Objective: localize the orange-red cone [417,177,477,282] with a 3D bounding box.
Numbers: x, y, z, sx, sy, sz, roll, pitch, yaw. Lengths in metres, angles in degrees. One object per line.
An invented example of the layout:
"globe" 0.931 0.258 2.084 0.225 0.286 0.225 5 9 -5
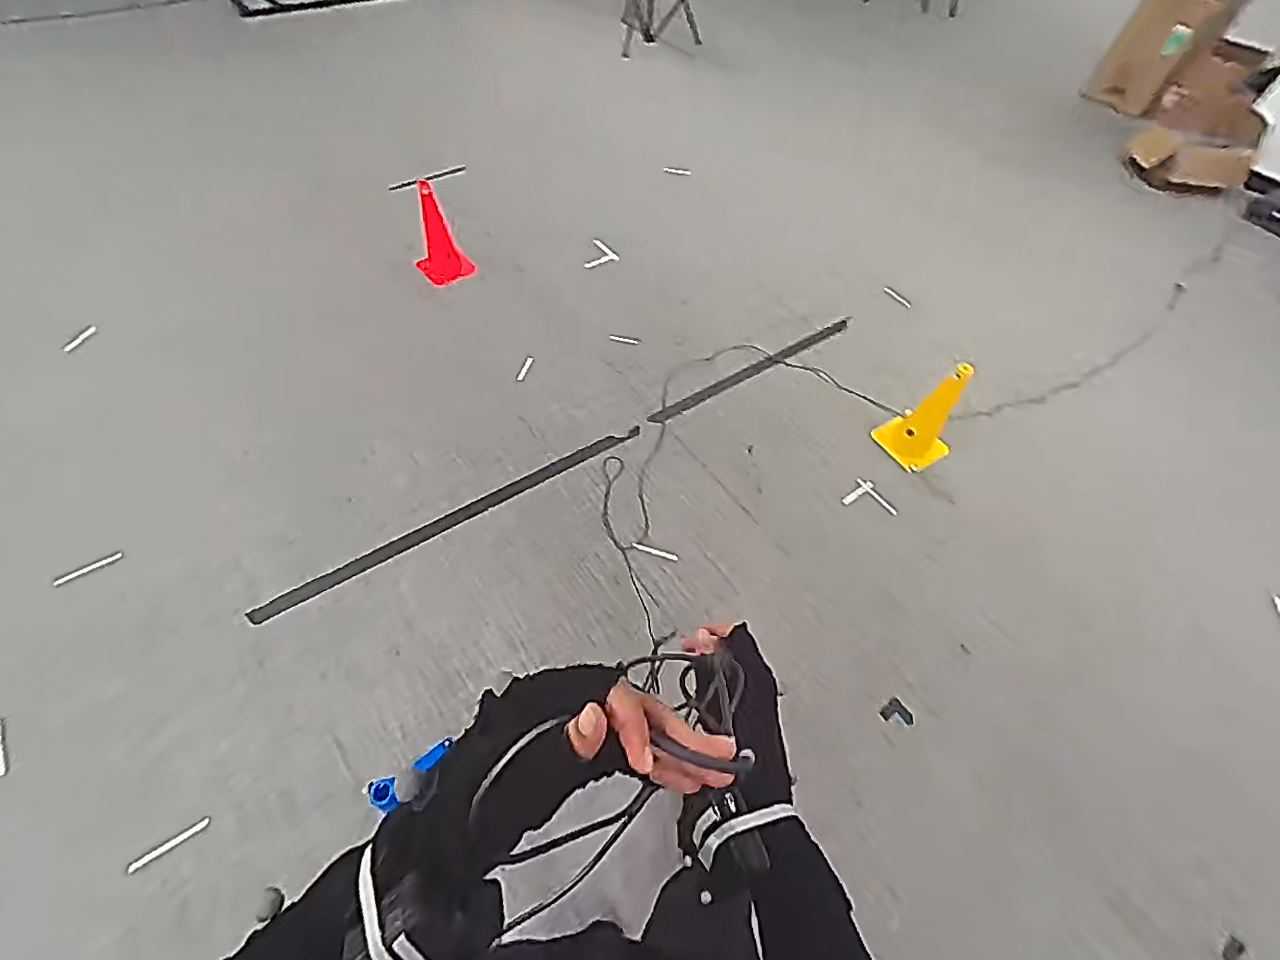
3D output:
"orange-red cone" -0.801 -0.997 2.118 0.199 0.360 0.198 -34 64 -21

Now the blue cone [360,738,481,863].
"blue cone" -0.463 0.622 1.070 0.193 0.380 0.192 -34 64 -23
